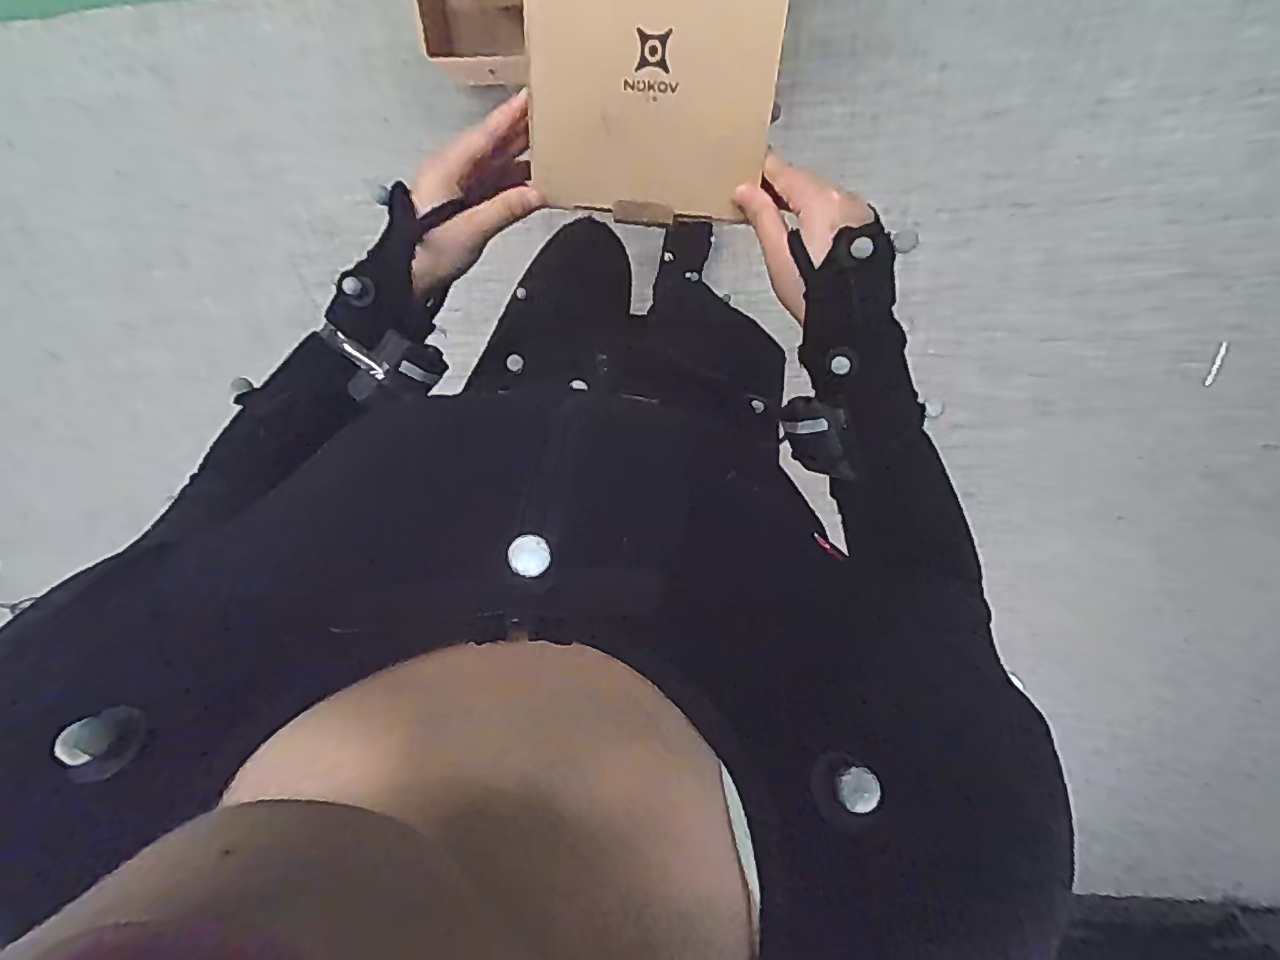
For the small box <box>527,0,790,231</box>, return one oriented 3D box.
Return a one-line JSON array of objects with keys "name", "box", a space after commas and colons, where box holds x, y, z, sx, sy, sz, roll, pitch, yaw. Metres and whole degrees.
[{"name": "small box", "box": [0.015, -0.308, 0.420, 0.168, 0.176, 0.179, 5, 124, 2]}]
